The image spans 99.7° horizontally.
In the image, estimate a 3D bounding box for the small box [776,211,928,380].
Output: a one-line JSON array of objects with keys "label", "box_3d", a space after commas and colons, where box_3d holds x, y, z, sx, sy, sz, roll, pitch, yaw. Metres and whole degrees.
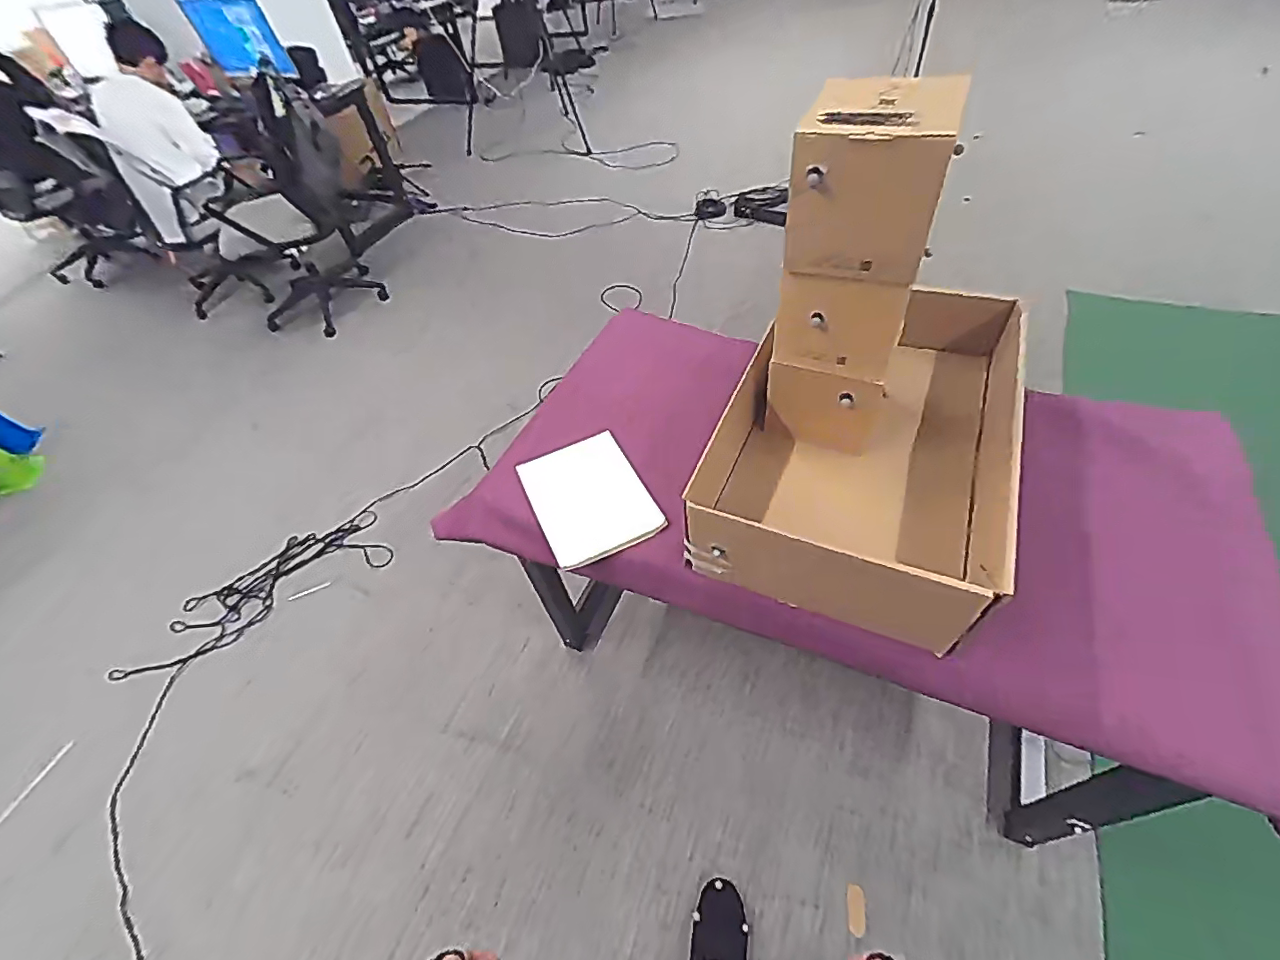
[{"label": "small box", "box_3d": [0.309, -0.275, 0.811, 0.168, 0.176, 0.179, 17, 56, 22]}]
